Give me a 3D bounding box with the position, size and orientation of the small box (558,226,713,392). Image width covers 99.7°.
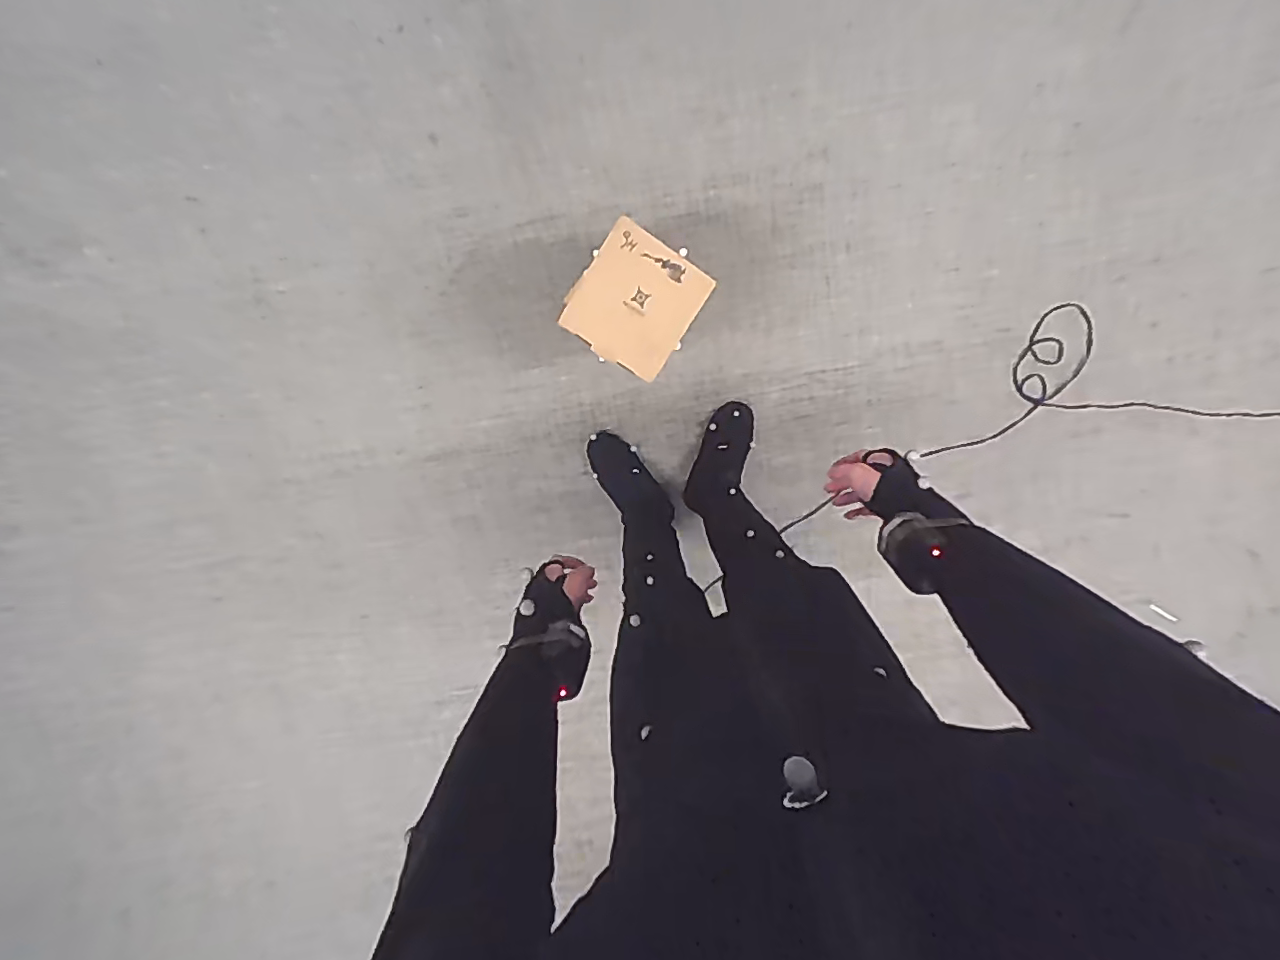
[{"bbox_3d":[-0.007,-0.262,0.857,0.168,0.176,0.179,33,102,-9],"label":"small box"}]
